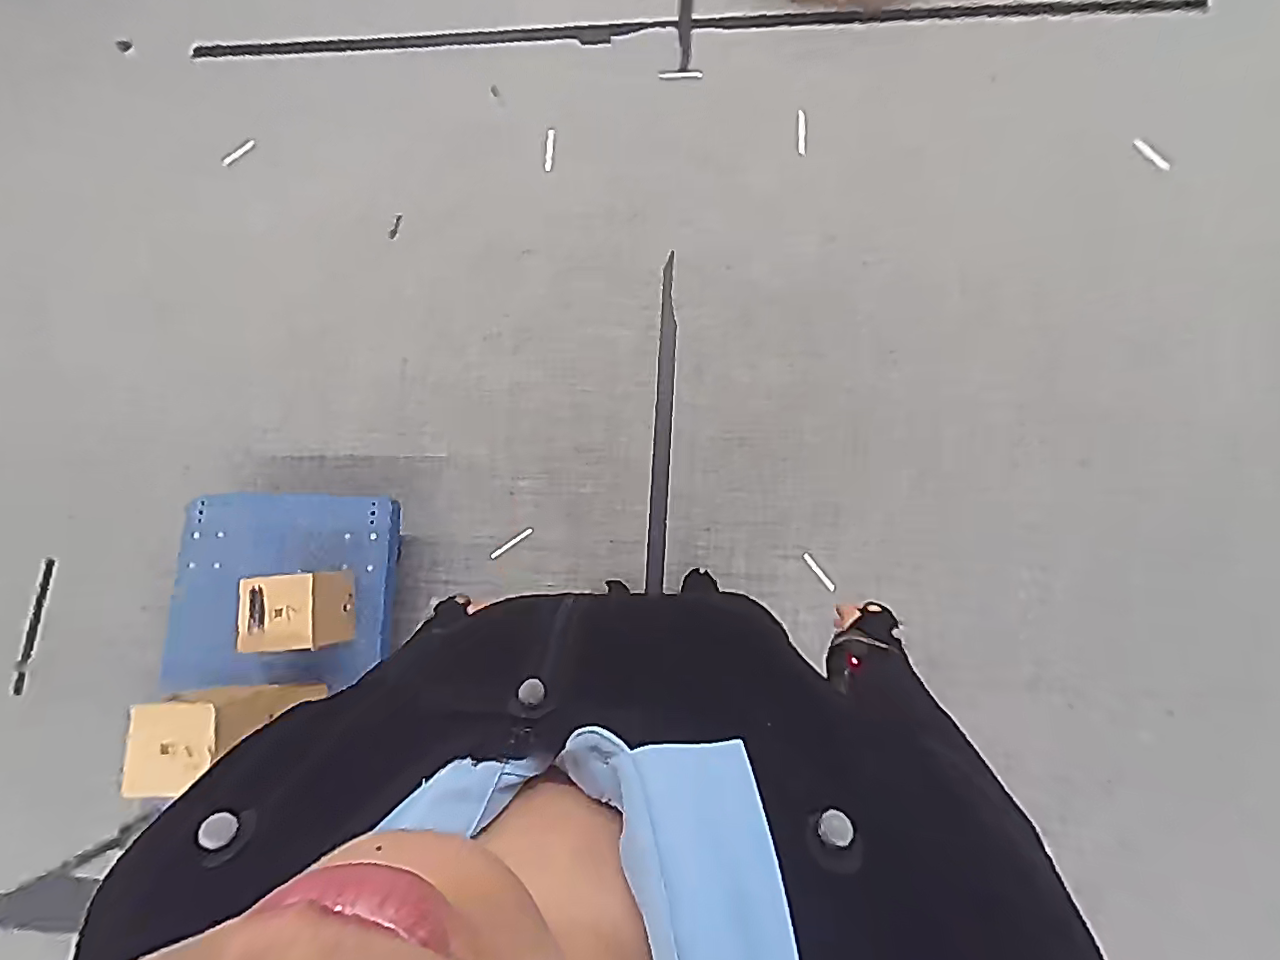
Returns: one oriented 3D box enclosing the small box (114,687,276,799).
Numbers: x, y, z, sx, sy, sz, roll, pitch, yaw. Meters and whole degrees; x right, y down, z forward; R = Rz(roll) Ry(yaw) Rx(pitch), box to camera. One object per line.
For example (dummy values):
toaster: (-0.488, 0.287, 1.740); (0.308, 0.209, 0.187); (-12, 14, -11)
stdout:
small box: (-0.878, 0.517, 1.082); (0.179, 0.176, 0.168); (-2, 80, 3)

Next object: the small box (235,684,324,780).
small box: (-0.867, 0.571, 1.239); (0.179, 0.176, 0.168); (-3, 80, 3)
